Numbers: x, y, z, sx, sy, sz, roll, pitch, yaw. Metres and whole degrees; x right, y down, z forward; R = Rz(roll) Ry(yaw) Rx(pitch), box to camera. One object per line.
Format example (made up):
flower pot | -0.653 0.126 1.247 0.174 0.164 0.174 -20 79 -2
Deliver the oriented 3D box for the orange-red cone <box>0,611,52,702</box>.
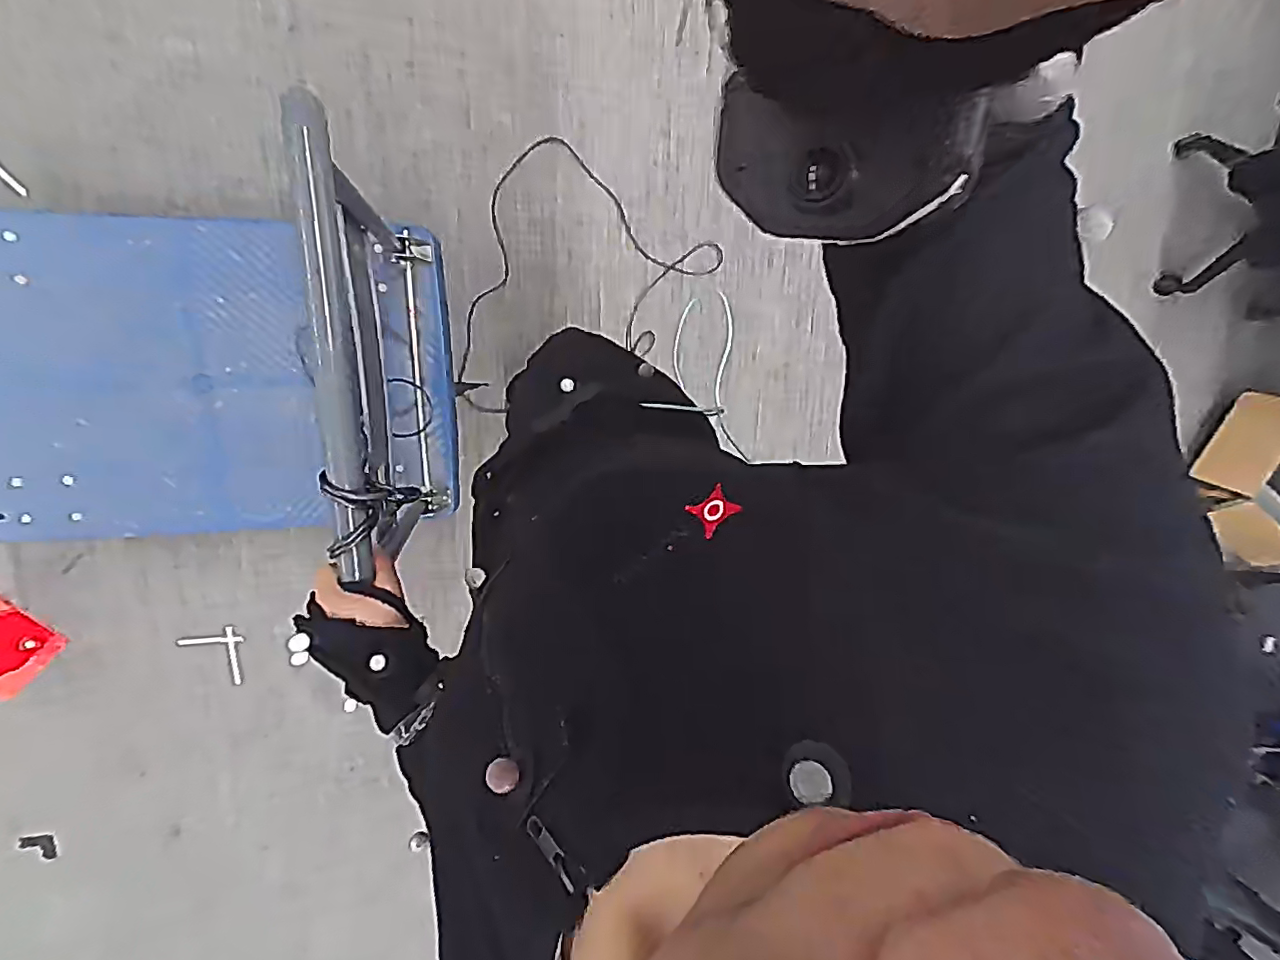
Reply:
orange-red cone | -1.385 0.402 0.998 0.198 0.360 0.199 -44 105 -1
